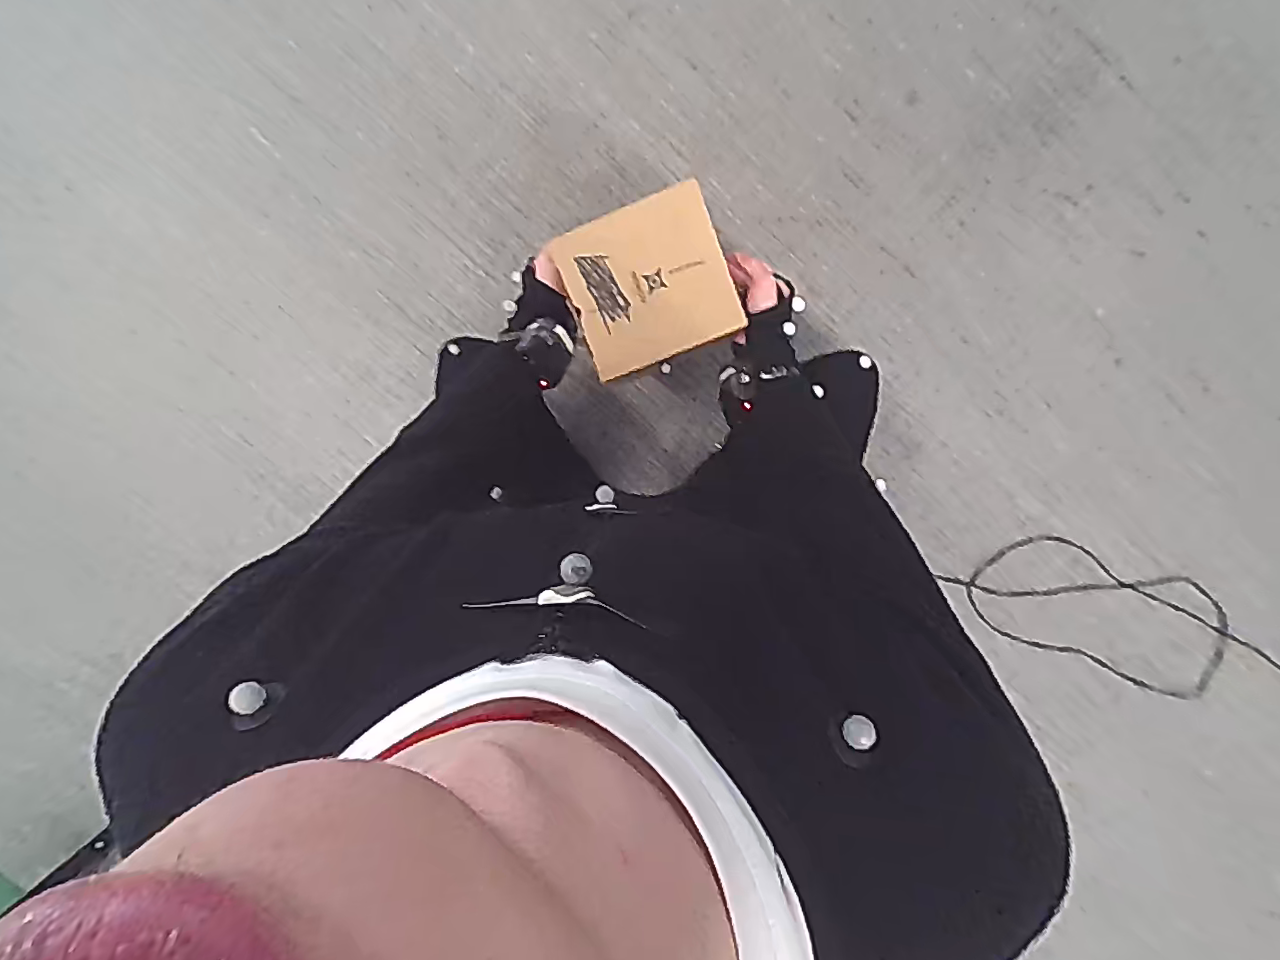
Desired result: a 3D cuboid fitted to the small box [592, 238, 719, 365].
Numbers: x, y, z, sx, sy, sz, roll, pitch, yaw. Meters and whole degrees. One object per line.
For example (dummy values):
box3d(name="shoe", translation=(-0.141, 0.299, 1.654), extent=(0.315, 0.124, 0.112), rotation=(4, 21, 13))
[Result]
box3d(name="small box", translation=(0.035, -0.315, 0.993), extent=(0.179, 0.176, 0.168), rotation=(21, 103, 5))
